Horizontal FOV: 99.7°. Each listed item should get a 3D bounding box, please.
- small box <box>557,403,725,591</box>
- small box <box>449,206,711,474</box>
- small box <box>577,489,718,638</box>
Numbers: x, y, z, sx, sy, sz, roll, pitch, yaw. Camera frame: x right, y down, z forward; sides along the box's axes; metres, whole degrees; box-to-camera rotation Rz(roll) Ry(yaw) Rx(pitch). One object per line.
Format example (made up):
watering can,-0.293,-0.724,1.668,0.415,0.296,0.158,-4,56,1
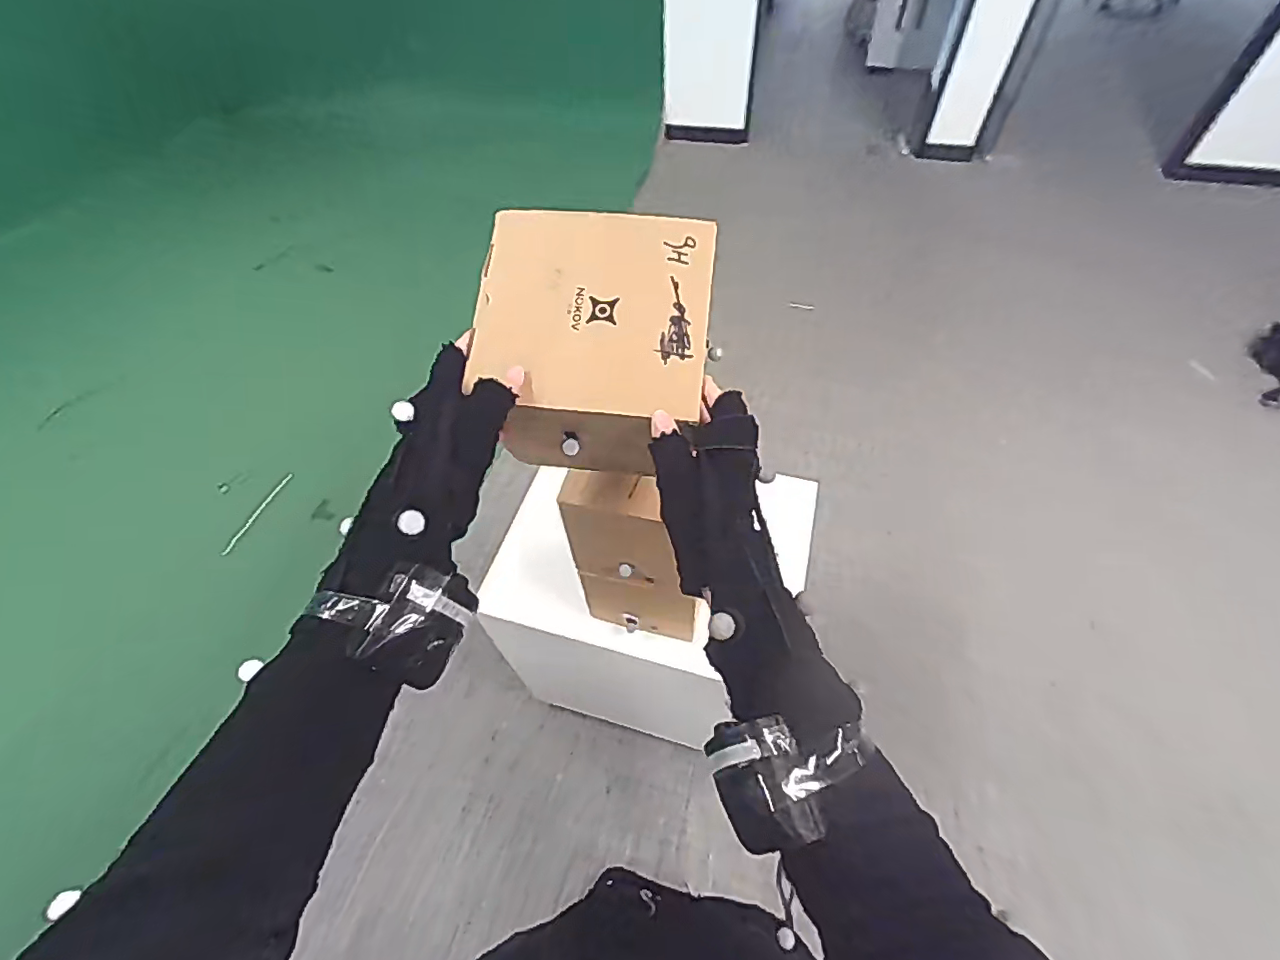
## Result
small box,0.009,0.014,0.683,0.168,0.176,0.179,8,53,10
small box,-0.036,-0.109,0.476,0.179,0.176,0.168,6,76,6
small box,0.019,0.113,0.814,0.168,0.176,0.179,9,56,12
